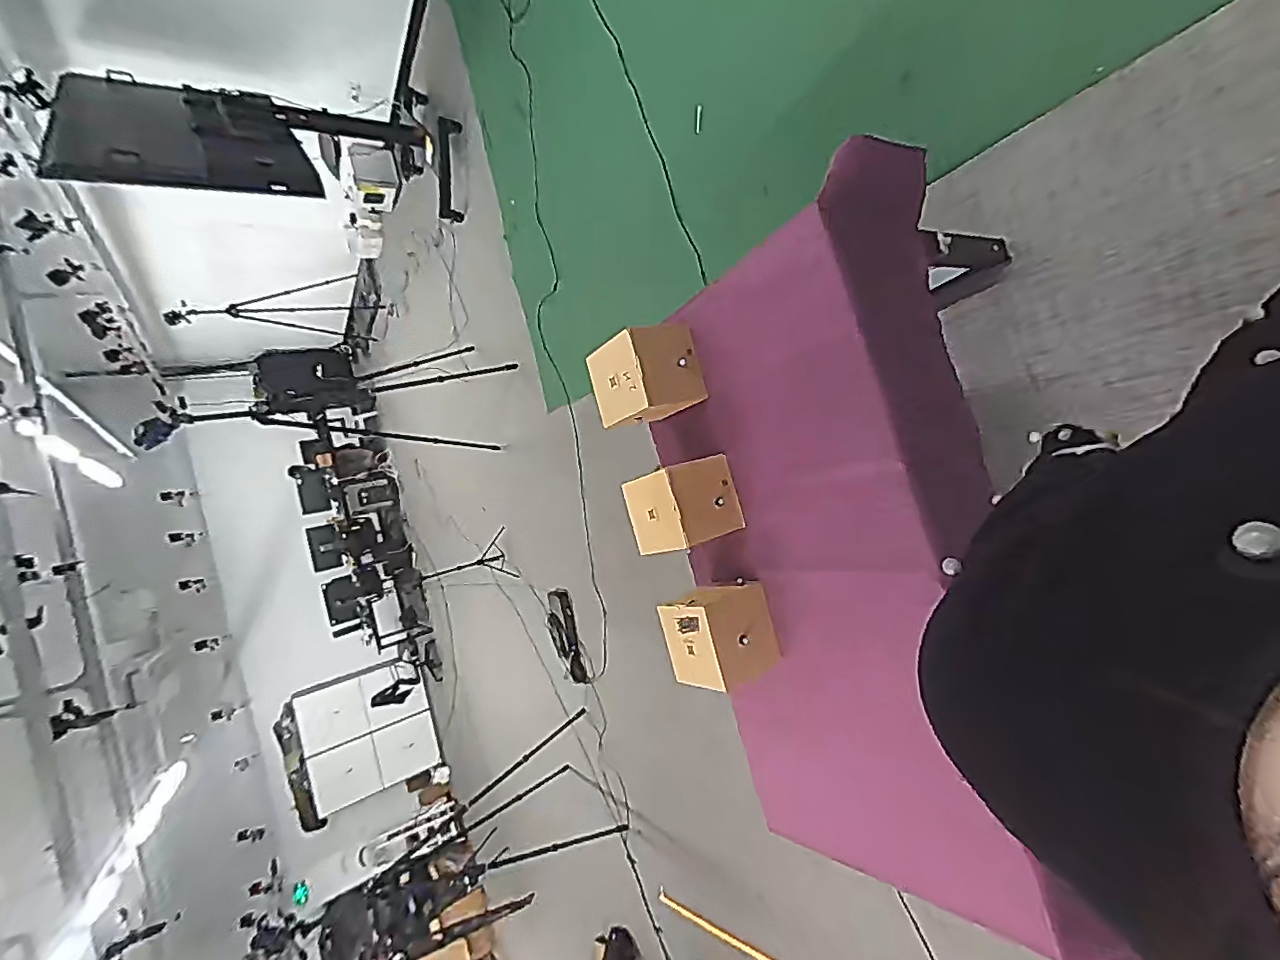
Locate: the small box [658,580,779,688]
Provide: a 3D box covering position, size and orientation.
[{"bbox_3d":[0.169,0.319,1.163,0.168,0.176,0.179,-18,87,56],"label":"small box"}]

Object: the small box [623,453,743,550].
[{"bbox_3d":[0.093,0.048,1.183,0.179,0.176,0.168,-21,84,54],"label":"small box"}]

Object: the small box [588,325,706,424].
[{"bbox_3d":[0.015,-0.230,1.189,0.179,0.176,0.168,-17,88,53],"label":"small box"}]
